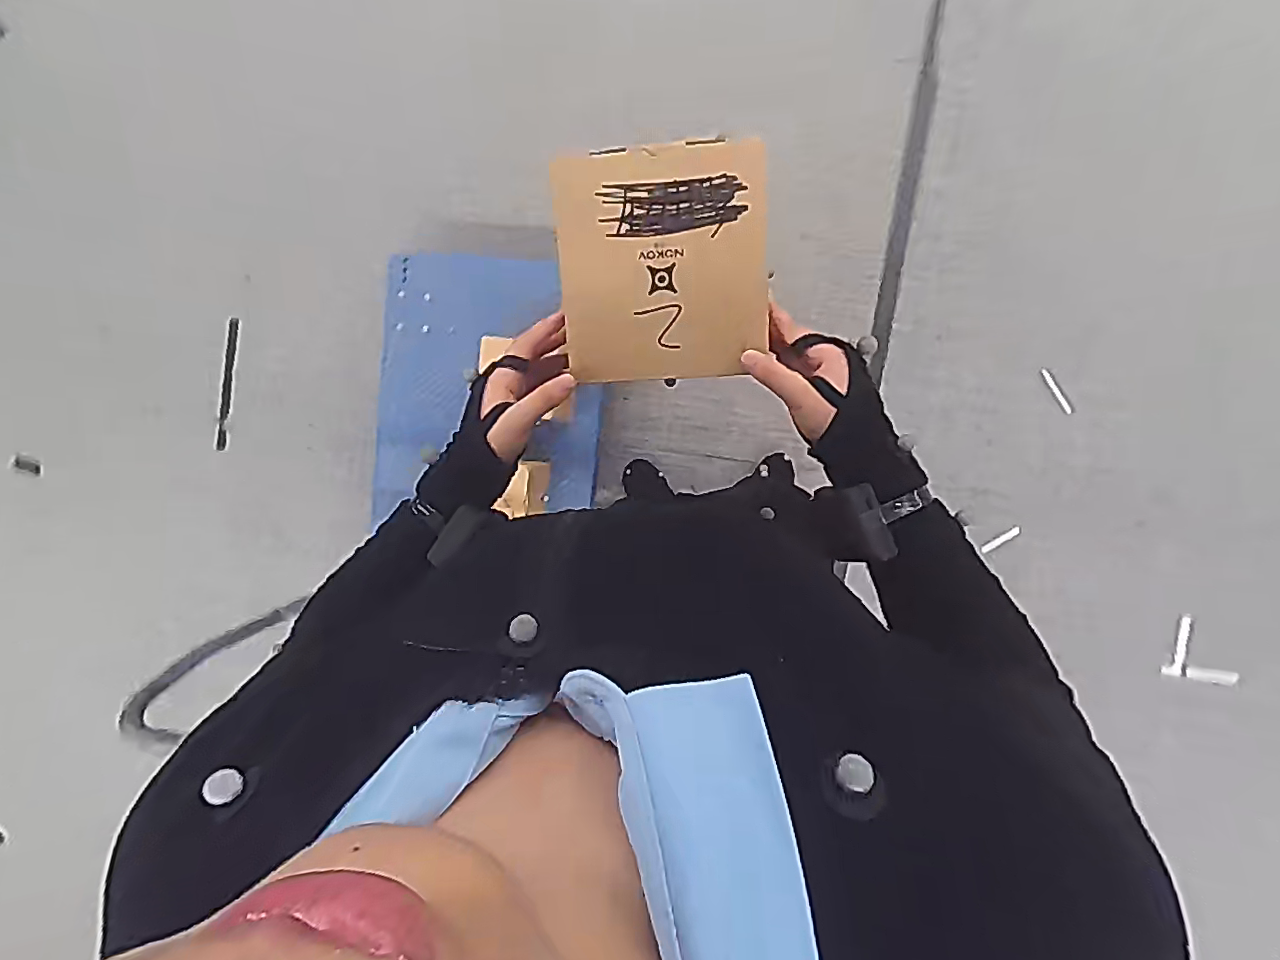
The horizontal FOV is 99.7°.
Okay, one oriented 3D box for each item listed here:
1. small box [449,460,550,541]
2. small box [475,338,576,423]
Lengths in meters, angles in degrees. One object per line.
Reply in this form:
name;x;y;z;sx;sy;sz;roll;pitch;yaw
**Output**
small box;-0.325;0.041;1.272;0.179;0.176;0.168;5;95;6
small box;-0.258;-0.223;1.247;0.179;0.176;0.168;6;95;6
